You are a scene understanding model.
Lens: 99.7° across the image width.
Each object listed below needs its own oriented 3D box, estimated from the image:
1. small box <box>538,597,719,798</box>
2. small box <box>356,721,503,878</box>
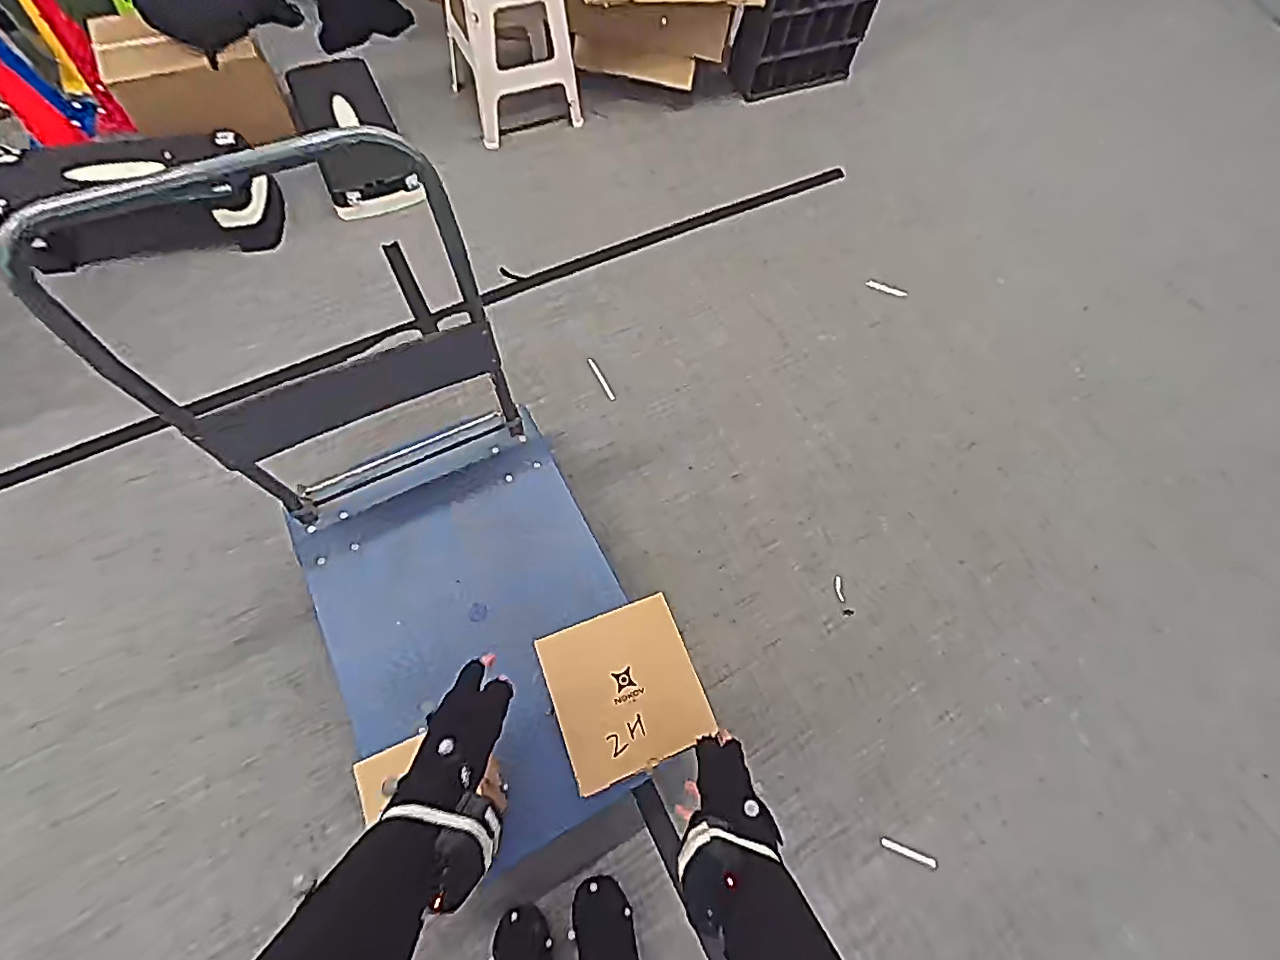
[{"bbox_3d":[-0.023,0.274,0.689,0.168,0.176,0.179,-18,69,-12],"label":"small box"},{"bbox_3d":[-0.343,0.522,0.915,0.179,0.176,0.168,-21,69,-12],"label":"small box"}]
